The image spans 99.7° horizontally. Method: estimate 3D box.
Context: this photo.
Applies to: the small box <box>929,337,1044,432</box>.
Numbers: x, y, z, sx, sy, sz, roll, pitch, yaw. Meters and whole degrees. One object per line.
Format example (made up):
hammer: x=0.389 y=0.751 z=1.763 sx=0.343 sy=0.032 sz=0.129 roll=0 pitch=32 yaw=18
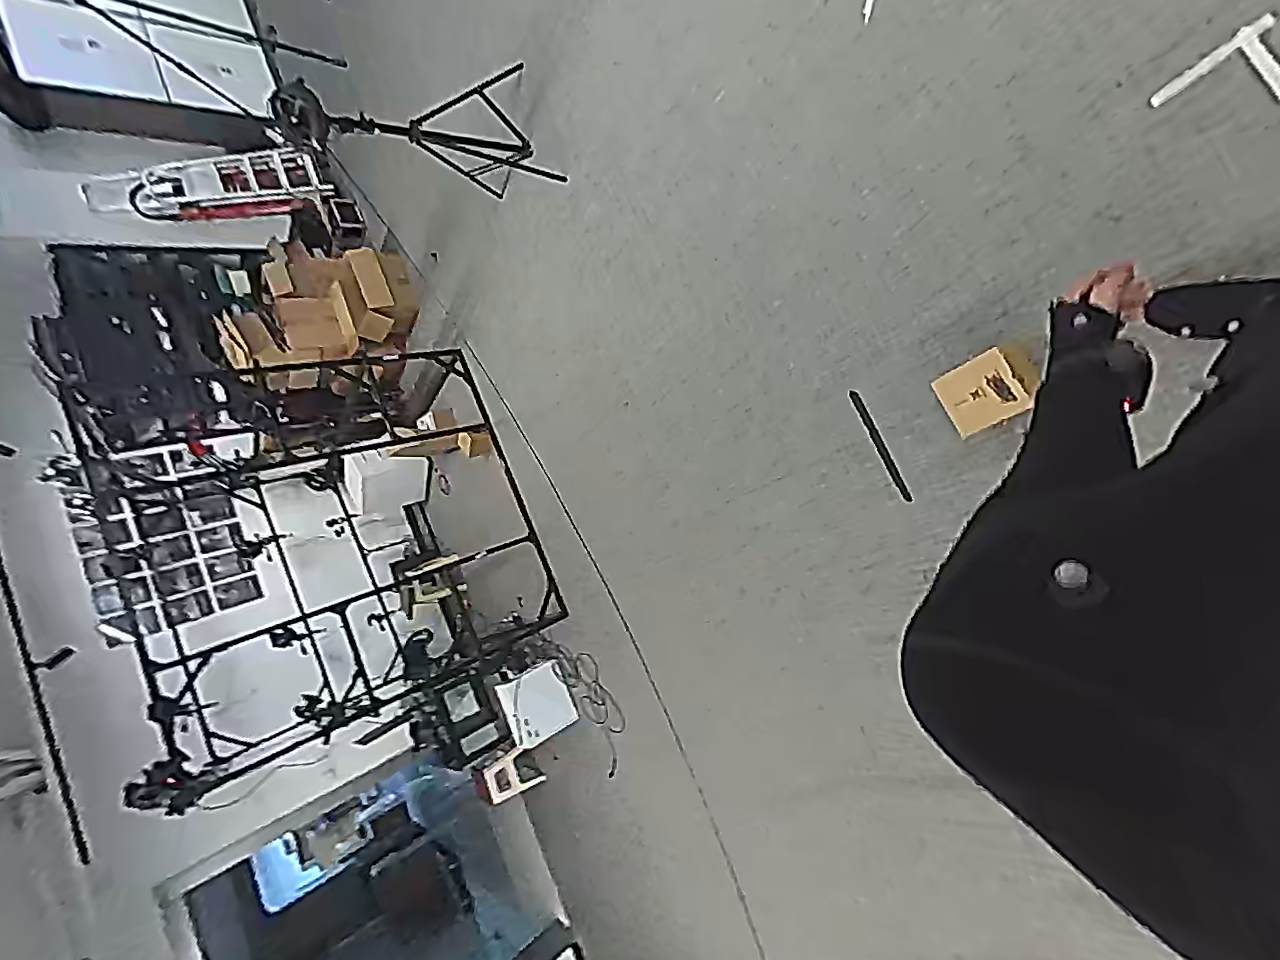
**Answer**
small box: x=0.886 y=-0.246 z=1.373 sx=0.179 sy=0.176 sz=0.168 roll=-37 pitch=76 yaw=51
